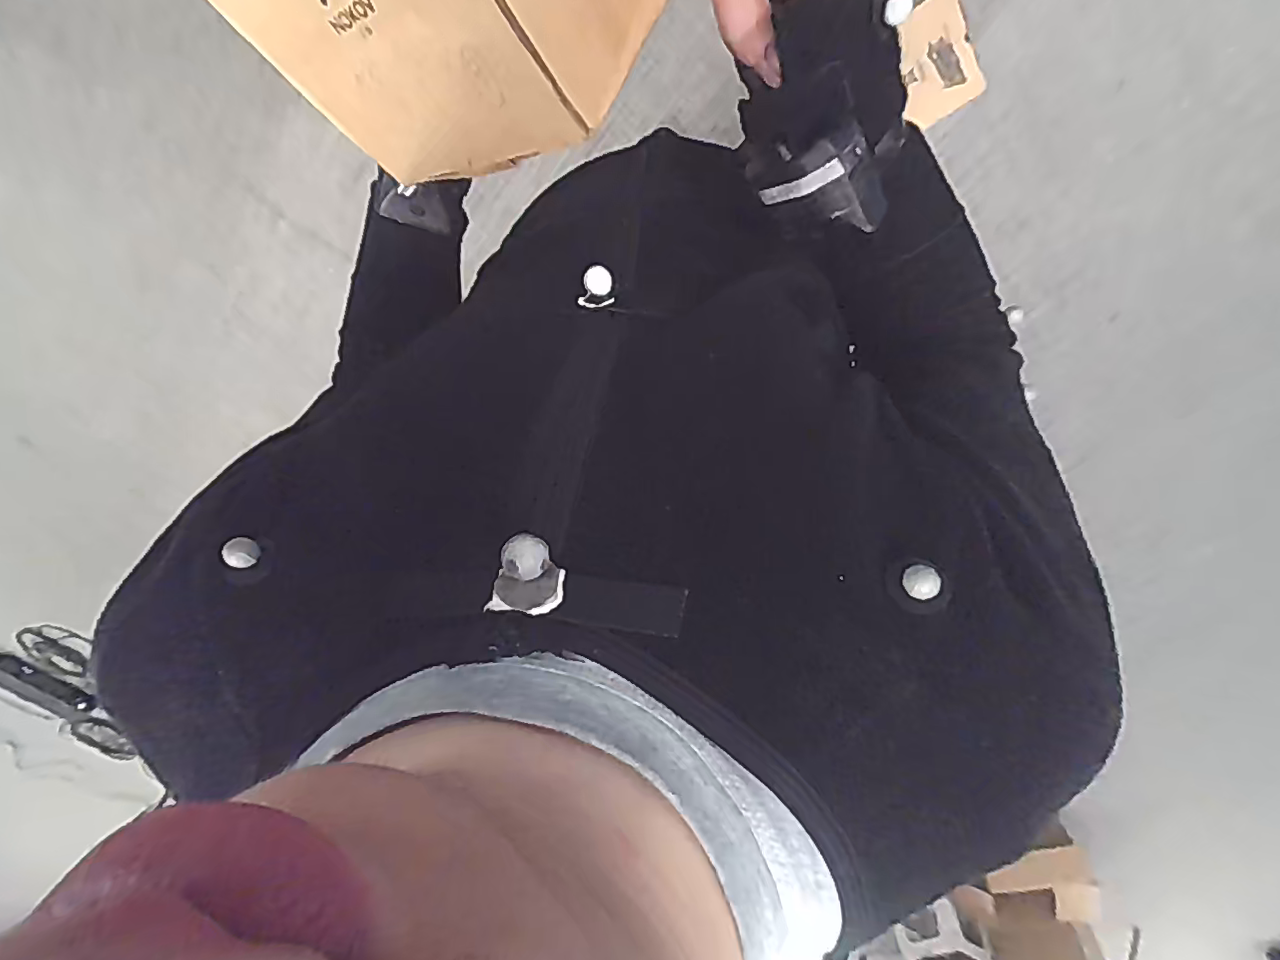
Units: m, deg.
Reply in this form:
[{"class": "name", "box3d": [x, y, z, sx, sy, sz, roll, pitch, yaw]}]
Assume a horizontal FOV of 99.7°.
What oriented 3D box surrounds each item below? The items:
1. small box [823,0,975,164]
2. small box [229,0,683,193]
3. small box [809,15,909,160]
[{"class": "small box", "box3d": [0.453, -0.699, 0.966, 0.179, 0.176, 0.168, -27, 115, 22]}, {"class": "small box", "box3d": [-0.083, -0.273, 0.248, 0.168, 0.176, 0.179, 14, 165, 37]}, {"class": "small box", "box3d": [0.467, -0.789, 1.103, 0.179, 0.176, 0.168, -28, 115, 23]}]
